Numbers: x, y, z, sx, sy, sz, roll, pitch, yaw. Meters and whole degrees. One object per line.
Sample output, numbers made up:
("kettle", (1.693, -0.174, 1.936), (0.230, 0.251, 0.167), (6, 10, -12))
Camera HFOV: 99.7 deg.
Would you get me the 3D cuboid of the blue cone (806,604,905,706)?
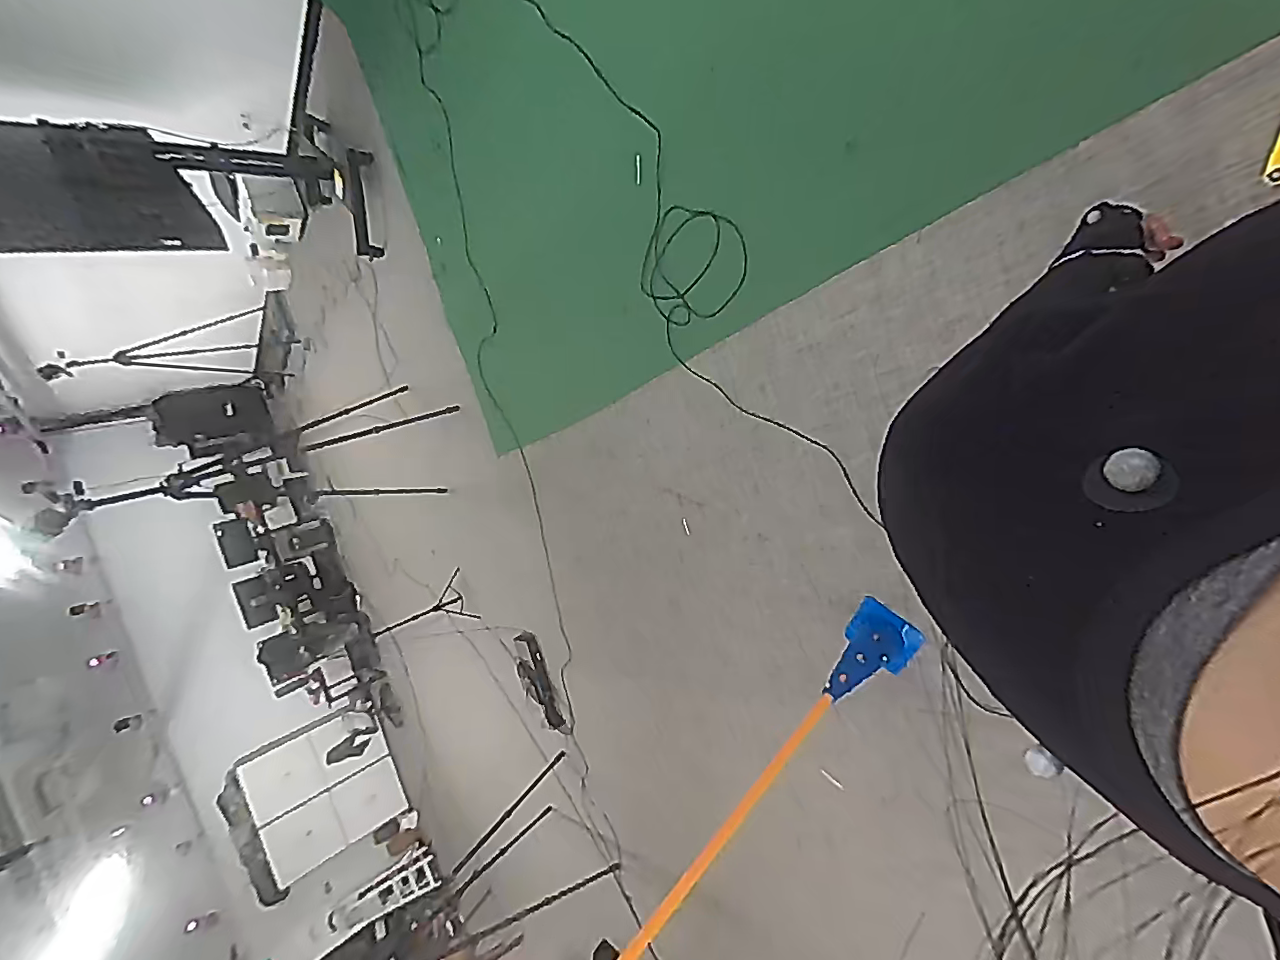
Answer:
("blue cone", (0.610, 0.556, 1.604), (0.192, 0.380, 0.193), (37, 132, 31))
